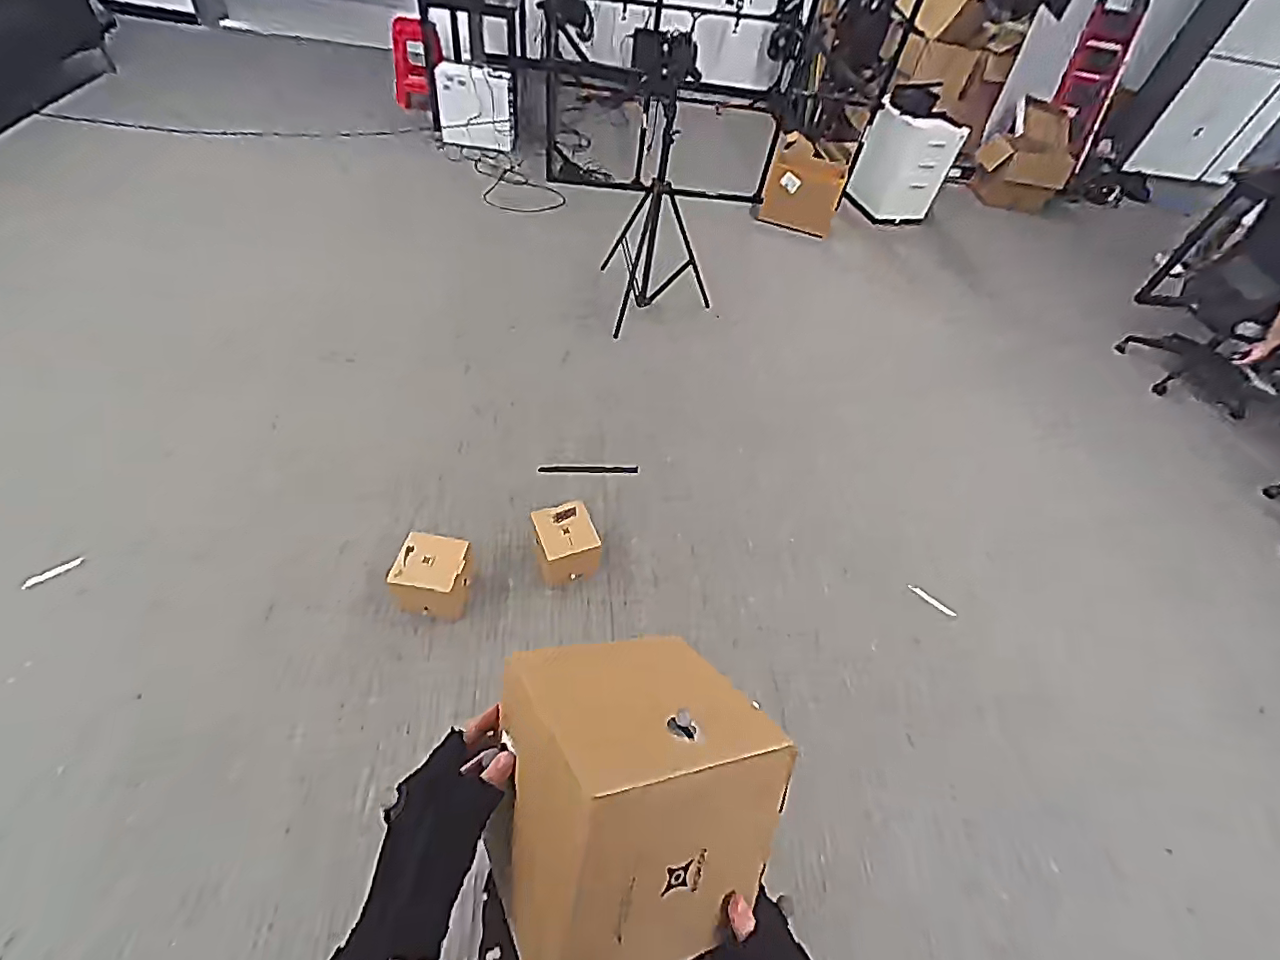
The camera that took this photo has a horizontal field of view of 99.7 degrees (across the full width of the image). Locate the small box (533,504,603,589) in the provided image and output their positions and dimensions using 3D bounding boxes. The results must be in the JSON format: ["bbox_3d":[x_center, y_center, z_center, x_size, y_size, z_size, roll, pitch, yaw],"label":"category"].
[{"bbox_3d":[-0.226,0.205,1.655,0.168,0.176,0.179,-15,55,-21],"label":"small box"}]

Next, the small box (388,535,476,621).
[{"bbox_3d":[-0.578,0.283,1.531,0.179,0.176,0.168,11,49,-1],"label":"small box"}]
